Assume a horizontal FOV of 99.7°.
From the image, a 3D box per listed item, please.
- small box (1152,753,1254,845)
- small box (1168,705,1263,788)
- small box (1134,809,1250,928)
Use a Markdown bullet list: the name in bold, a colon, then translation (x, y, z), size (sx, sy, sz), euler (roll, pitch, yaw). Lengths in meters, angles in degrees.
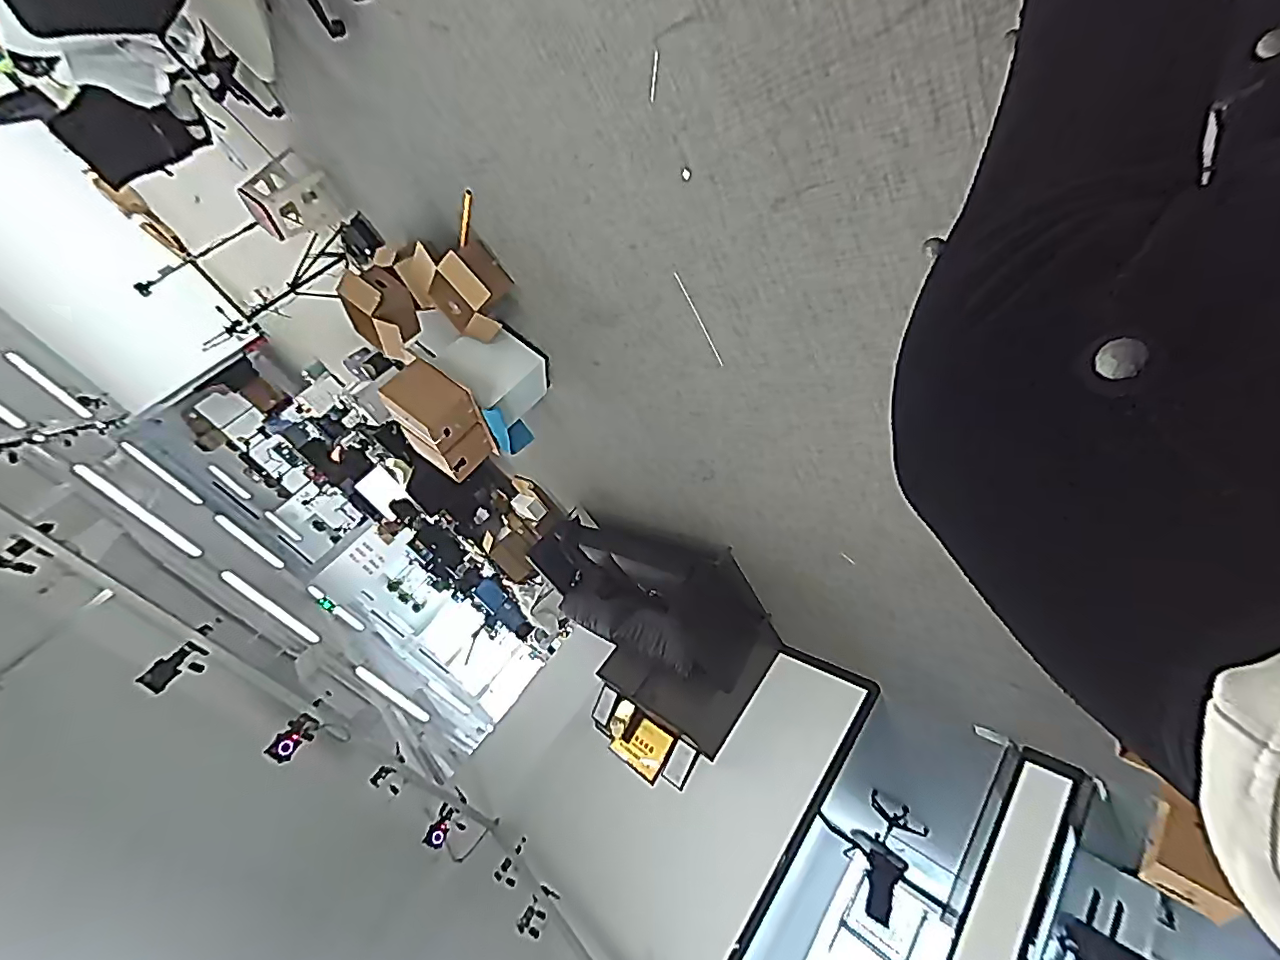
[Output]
- **small box**: translation (1.527, 0.888, 1.470), size (0.168, 0.176, 0.179), euler (13, 141, 49)
- **small box**: translation (1.630, 0.782, 1.537), size (0.168, 0.176, 0.179), euler (12, 141, 48)
- **small box**: translation (1.430, 1.001, 1.402), size (0.168, 0.176, 0.179), euler (20, 146, 41)
